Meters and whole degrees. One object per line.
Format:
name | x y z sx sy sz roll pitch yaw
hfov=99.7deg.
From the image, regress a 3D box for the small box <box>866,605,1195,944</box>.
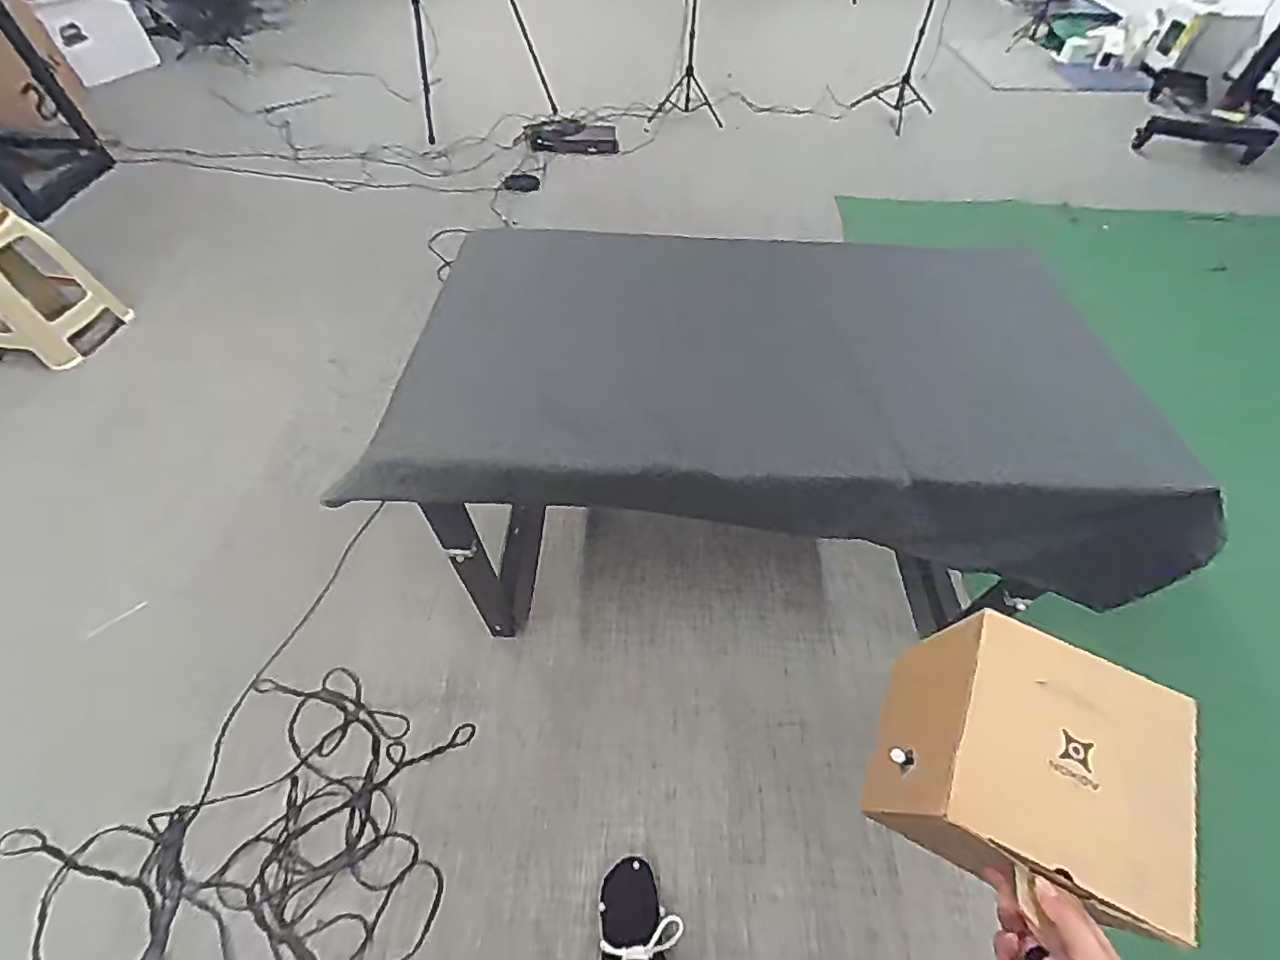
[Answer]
small box | 0.322 0.245 0.476 0.168 0.176 0.179 25 62 12
